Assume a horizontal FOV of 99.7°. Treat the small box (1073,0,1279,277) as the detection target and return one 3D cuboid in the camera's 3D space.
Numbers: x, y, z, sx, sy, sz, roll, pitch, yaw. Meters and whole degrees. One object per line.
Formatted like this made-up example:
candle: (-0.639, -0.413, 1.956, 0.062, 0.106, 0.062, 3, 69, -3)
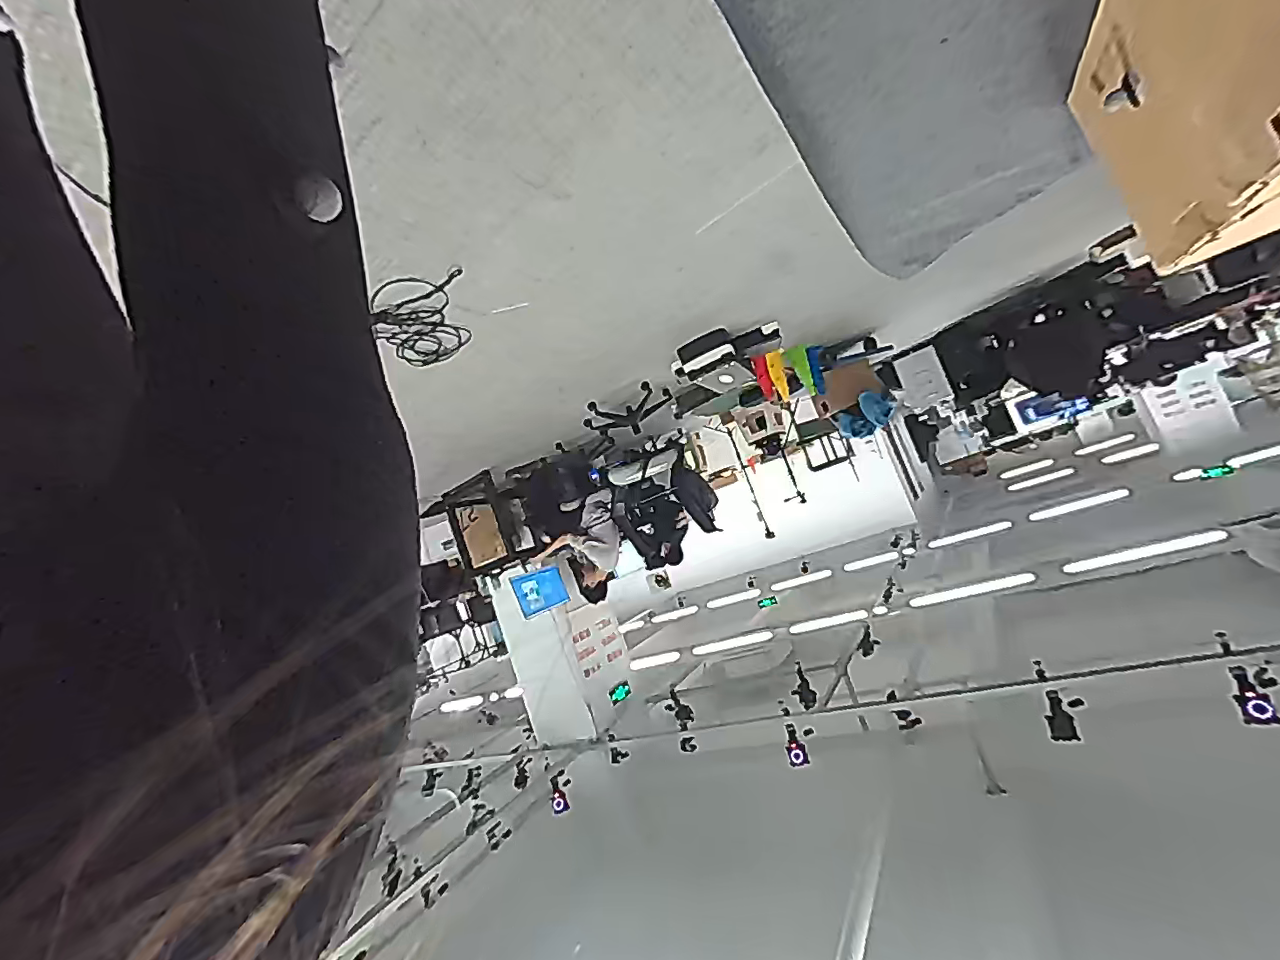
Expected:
small box: (0.406, -0.256, 0.320, 0.179, 0.176, 0.168, -23, 173, 30)
